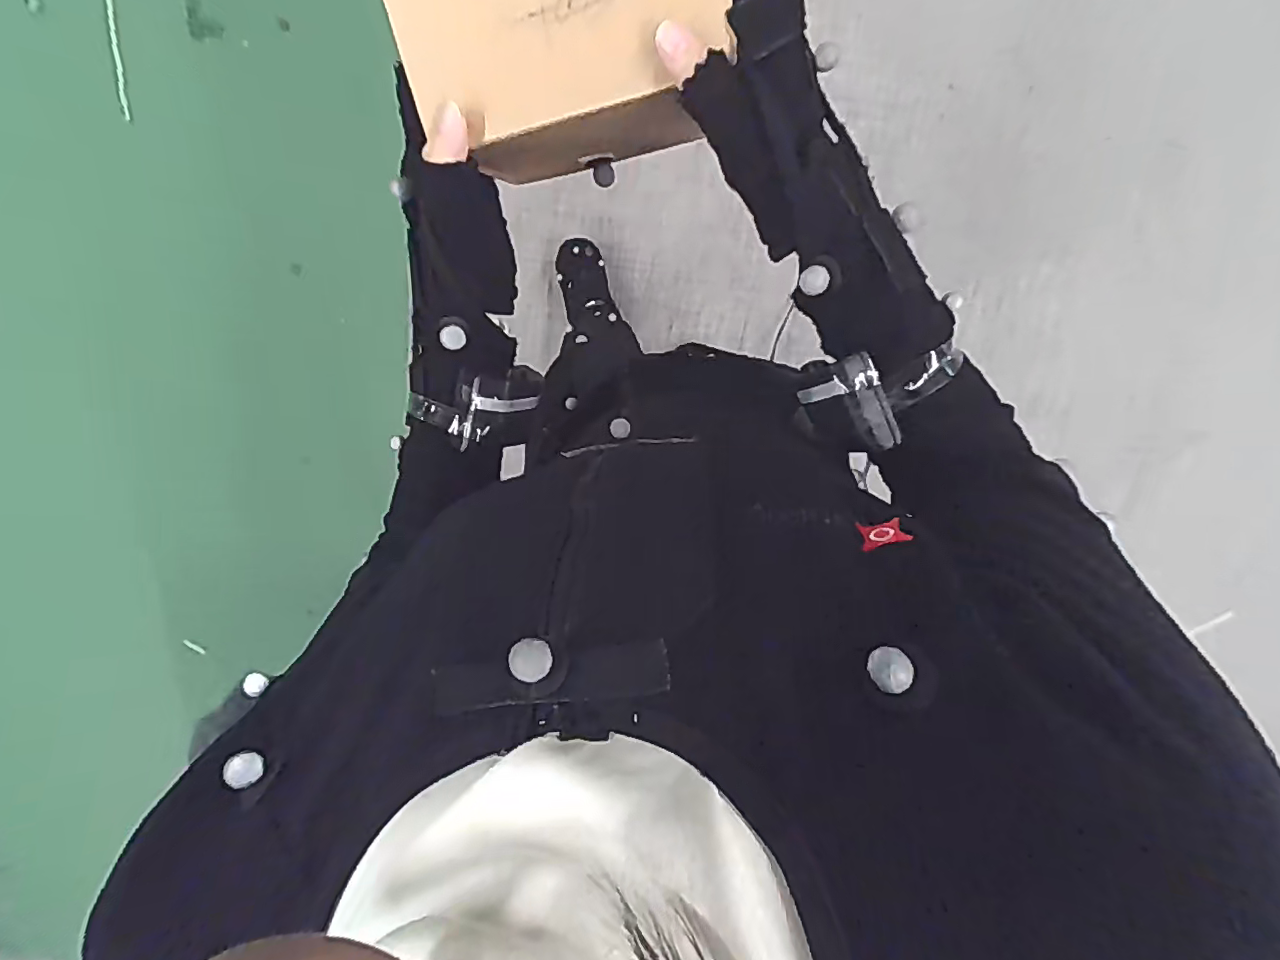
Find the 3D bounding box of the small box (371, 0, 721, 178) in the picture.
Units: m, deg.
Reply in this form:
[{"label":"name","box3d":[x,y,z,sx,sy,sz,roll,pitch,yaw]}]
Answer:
[{"label":"small box","box3d":[-0.047,-0.297,0.315,0.168,0.176,0.179,-8,113,11]}]
